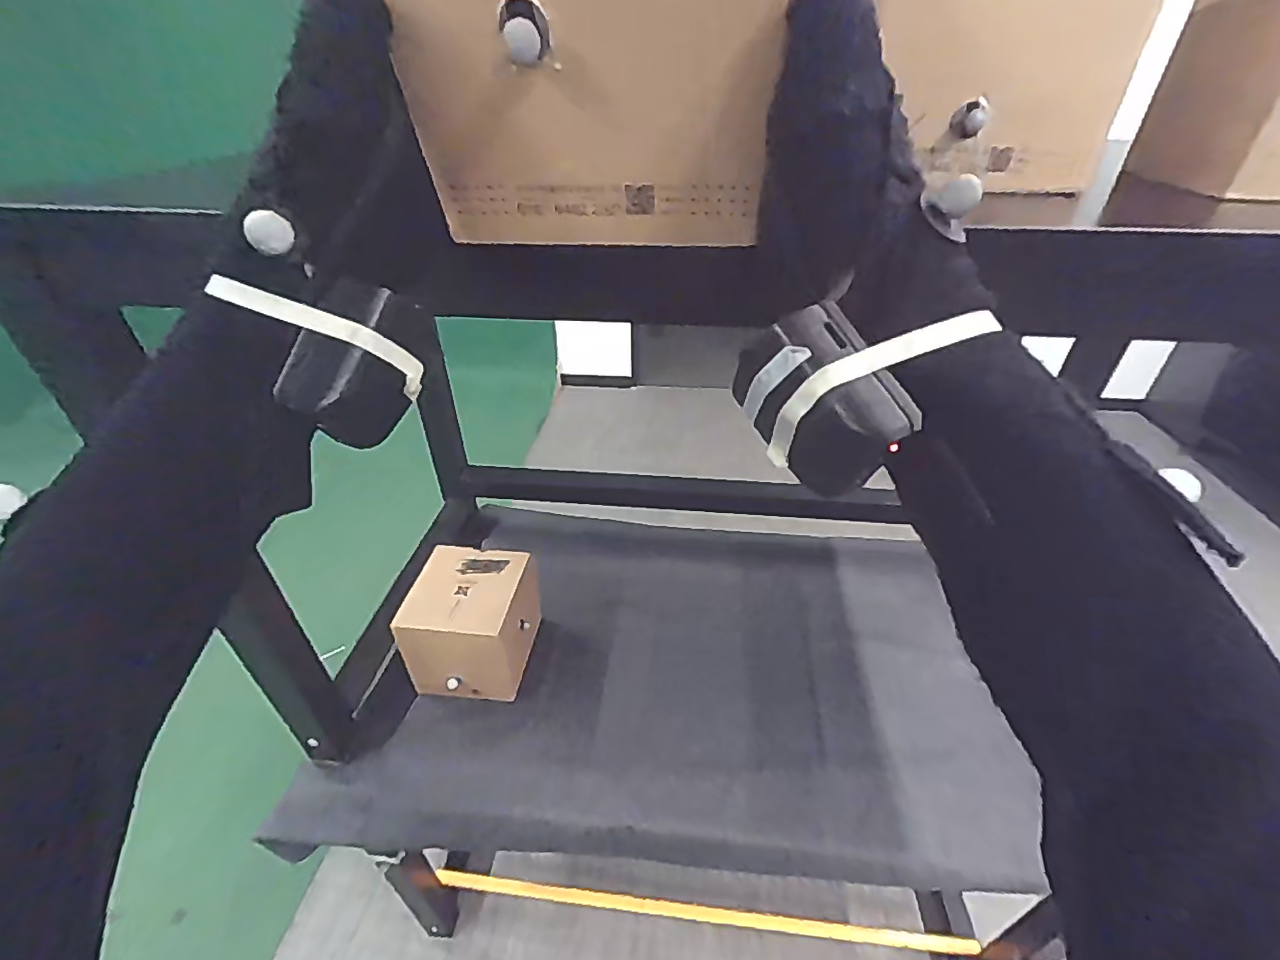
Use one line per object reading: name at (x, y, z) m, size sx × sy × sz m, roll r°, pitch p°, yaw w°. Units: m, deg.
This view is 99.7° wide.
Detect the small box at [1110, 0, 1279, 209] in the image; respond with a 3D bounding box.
small box at (0.471, -0.277, 0.358) m, size 0.168 × 0.176 × 0.179 m, roll 10°, pitch 36°, yaw 14°

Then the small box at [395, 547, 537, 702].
small box at (-0.274, 0.236, 0.898) m, size 0.168 × 0.176 × 0.179 m, roll 4°, pitch 36°, yaw 5°
